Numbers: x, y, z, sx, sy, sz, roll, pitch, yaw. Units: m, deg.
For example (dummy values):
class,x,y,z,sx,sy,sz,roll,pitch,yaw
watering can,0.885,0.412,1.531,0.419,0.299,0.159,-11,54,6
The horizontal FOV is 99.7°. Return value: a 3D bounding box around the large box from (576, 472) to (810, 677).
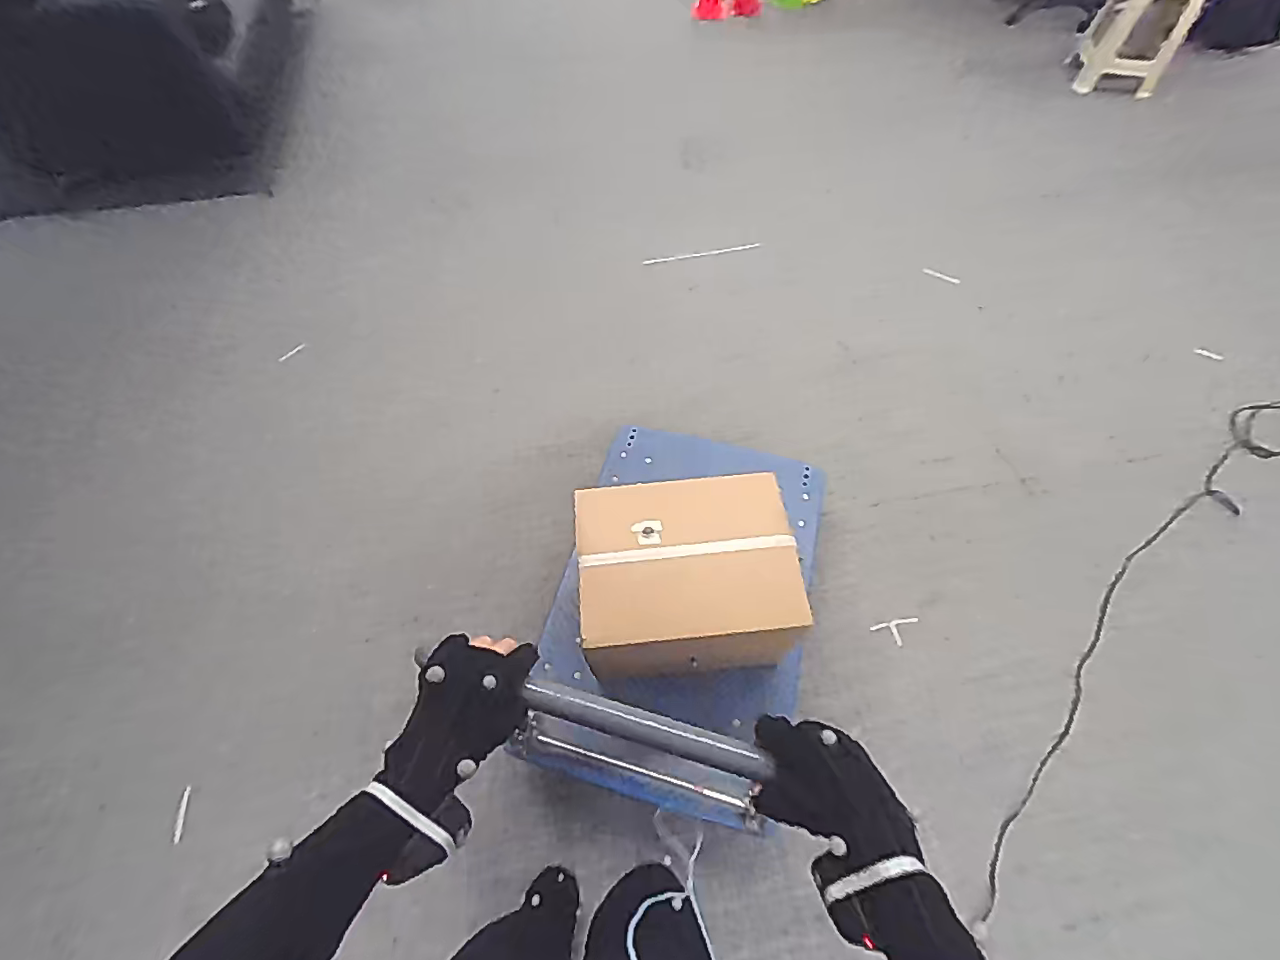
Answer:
class,x,y,z,sx,sy,sz,roll,pitch,yaw
large box,0.094,0.212,1.147,0.408,0.320,0.320,-7,59,-1
